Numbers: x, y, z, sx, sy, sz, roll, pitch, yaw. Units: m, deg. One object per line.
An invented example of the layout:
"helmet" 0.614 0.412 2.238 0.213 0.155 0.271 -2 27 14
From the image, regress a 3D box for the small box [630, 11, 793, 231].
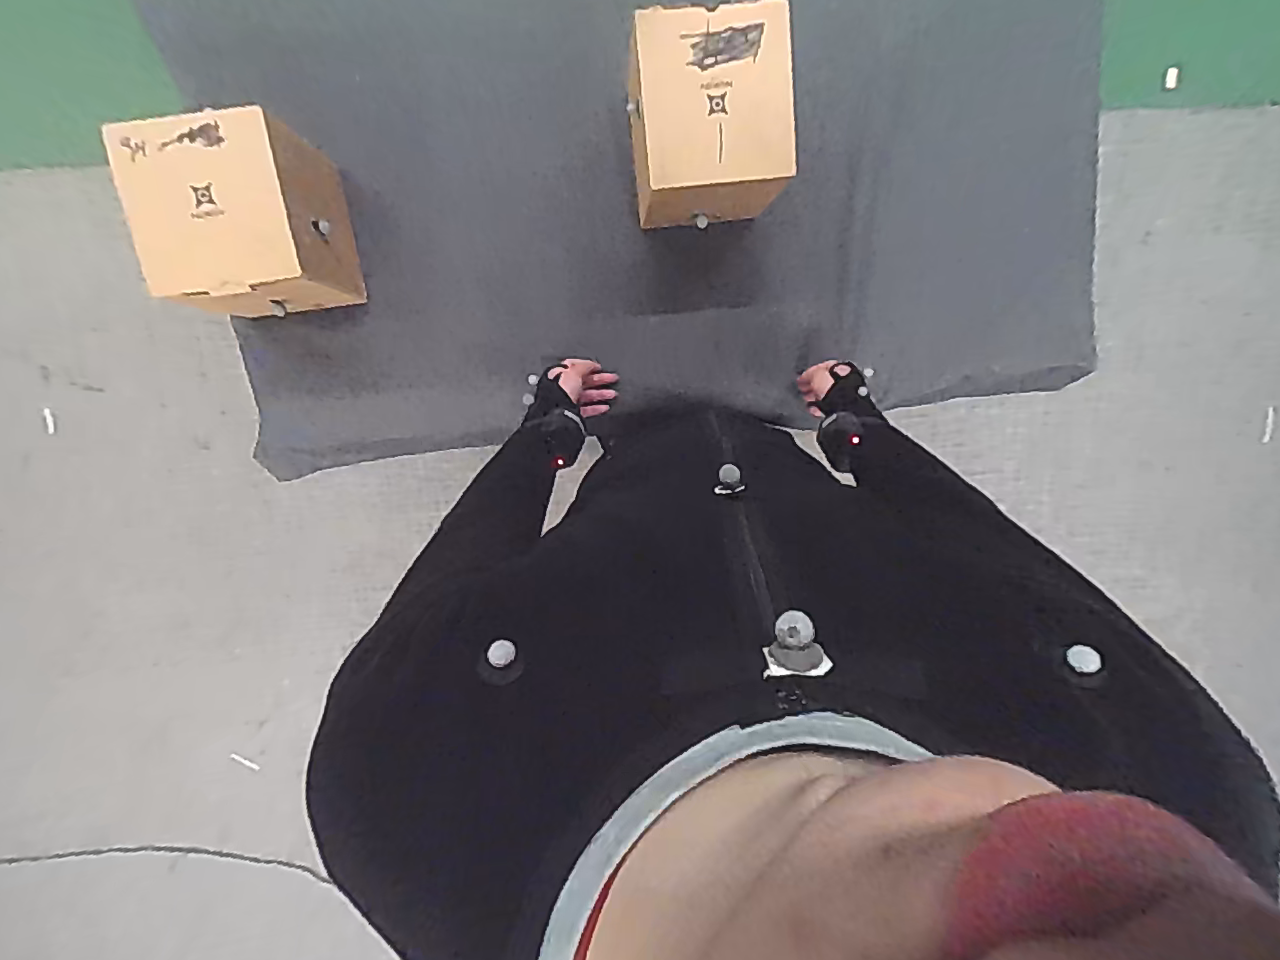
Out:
"small box" 0.080 -0.428 0.671 0.168 0.176 0.179 -6 103 -3

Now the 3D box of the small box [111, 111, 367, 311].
"small box" -0.459 -0.306 0.655 0.168 0.176 0.179 -9 102 -3
